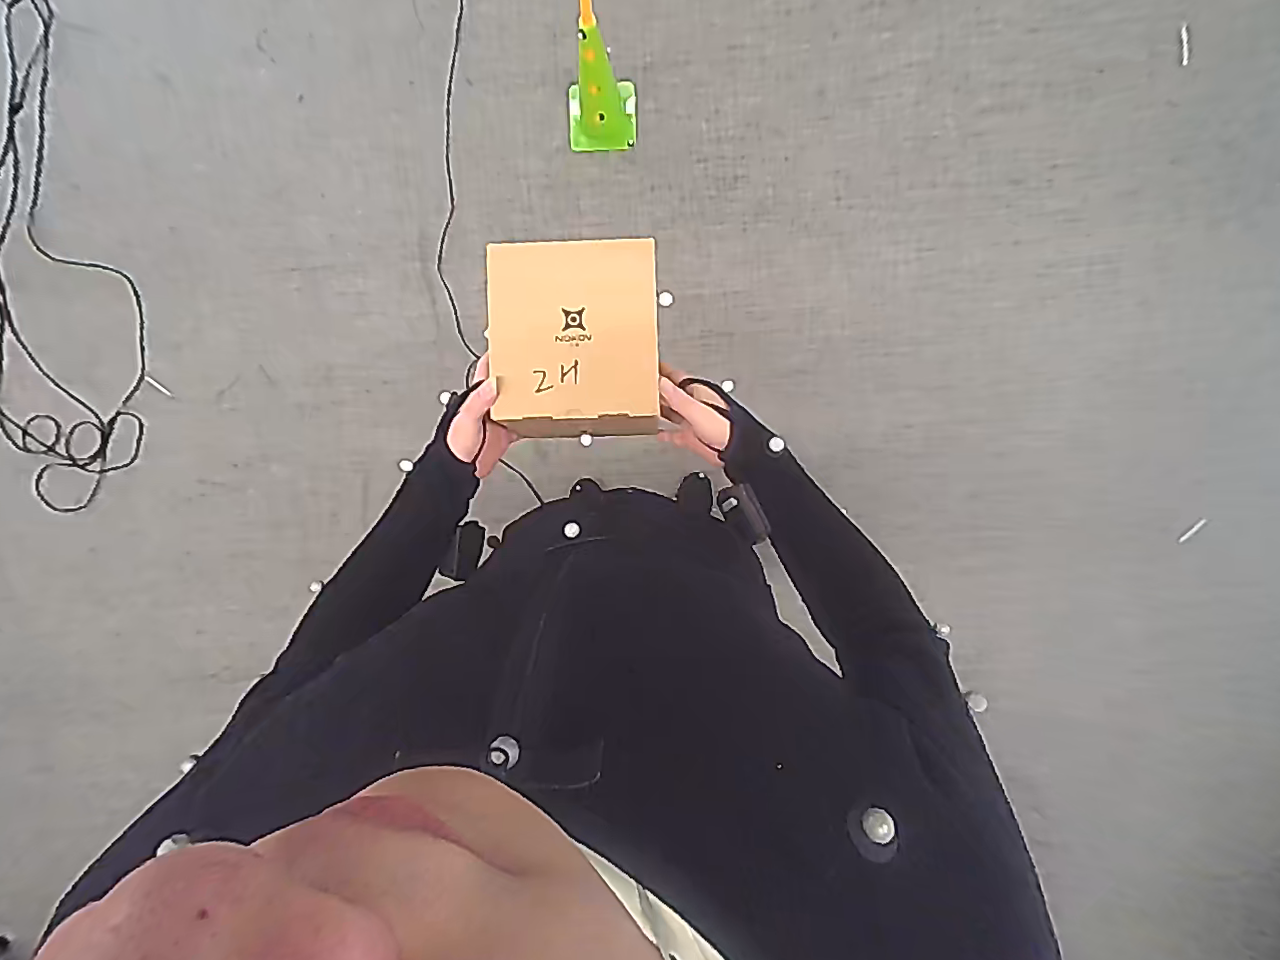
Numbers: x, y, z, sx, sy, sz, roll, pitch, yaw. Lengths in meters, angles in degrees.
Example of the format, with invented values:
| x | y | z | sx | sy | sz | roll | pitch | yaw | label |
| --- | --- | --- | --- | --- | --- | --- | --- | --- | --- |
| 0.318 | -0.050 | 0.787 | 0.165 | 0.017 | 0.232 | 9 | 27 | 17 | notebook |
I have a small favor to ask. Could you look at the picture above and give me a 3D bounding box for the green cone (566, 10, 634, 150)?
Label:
| x | y | z | sx | sy | sz | roll | pitch | yaw | label |
| --- | --- | --- | --- | --- | --- | --- | --- | --- | --- |
| -0.129 | -1.100 | 1.457 | 0.202 | 0.368 | 0.200 | -2 | 90 | 3 | green cone |
